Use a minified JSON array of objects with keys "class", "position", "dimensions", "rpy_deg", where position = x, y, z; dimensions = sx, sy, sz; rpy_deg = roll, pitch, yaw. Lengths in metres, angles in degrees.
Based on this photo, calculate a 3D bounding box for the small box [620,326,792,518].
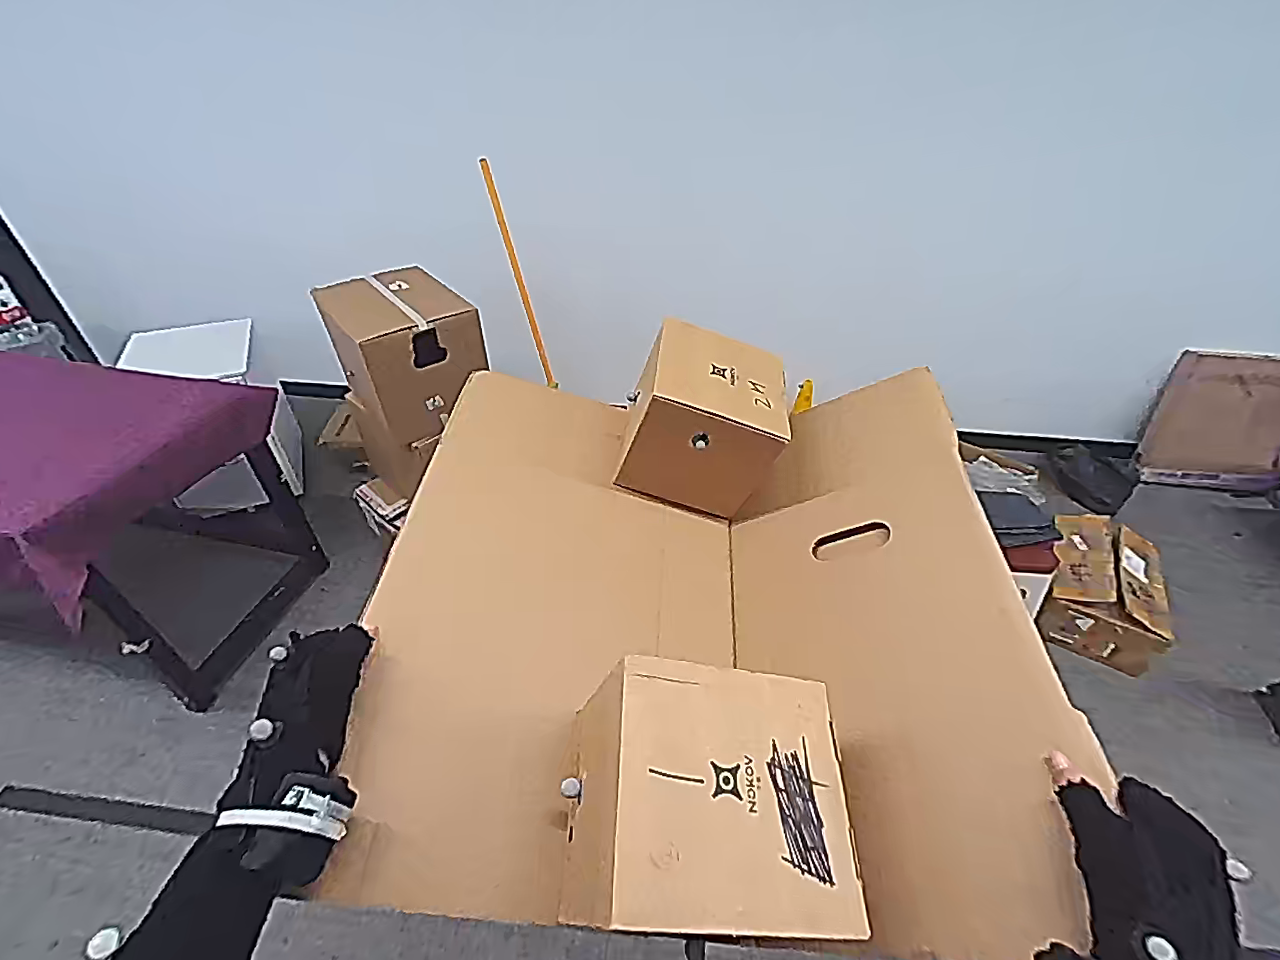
[{"class":"small box","position":[0.084,-0.071,0.735],"dimensions":[0.179,0.176,0.168],"rpy_deg":[19,48,-8]}]
